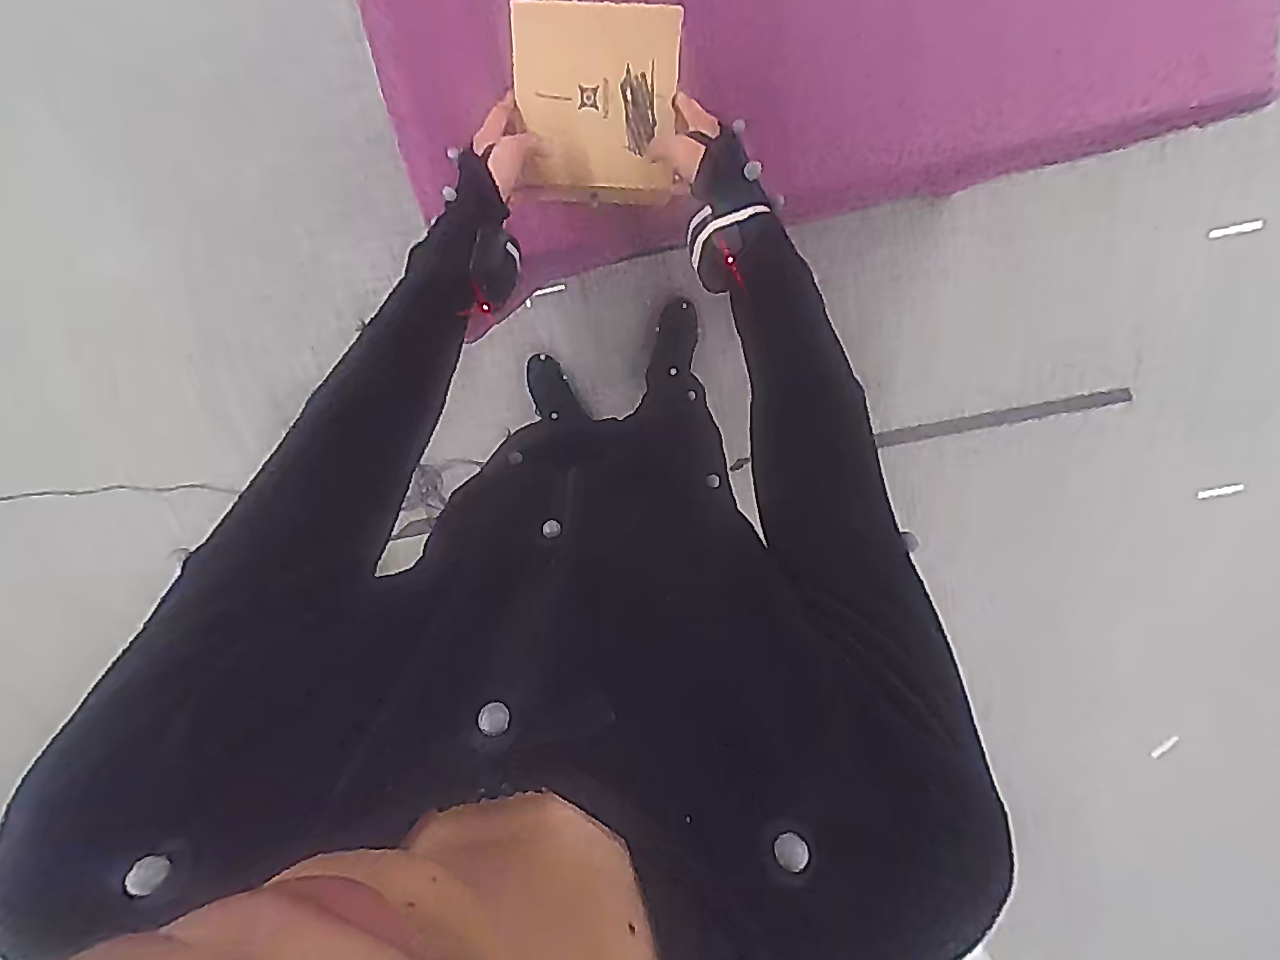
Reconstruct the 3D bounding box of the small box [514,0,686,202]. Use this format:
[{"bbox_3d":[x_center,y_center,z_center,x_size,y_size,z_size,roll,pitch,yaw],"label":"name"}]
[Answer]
[{"bbox_3d":[-0.044,-0.433,0.644,0.179,0.176,0.168,2,112,-1],"label":"small box"}]
